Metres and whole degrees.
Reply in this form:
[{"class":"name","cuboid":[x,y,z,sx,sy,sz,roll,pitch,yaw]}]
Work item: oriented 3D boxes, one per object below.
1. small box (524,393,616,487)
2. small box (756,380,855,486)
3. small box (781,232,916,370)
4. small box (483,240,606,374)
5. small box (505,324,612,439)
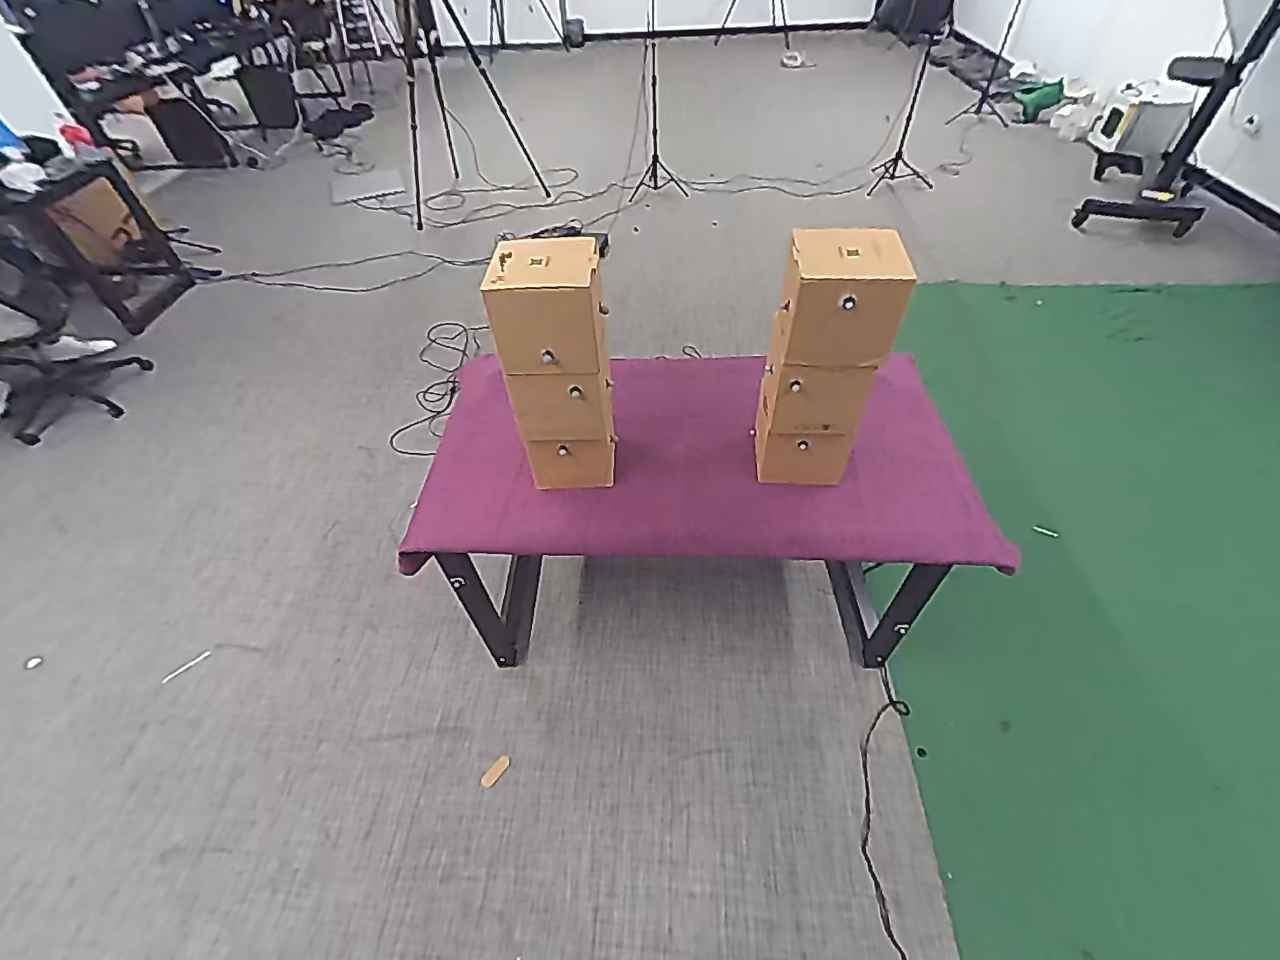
[{"class":"small box","cuboid":[-0.147,-0.097,1.206,0.179,0.176,0.168,-1,49,2]},{"class":"small box","cuboid":[0.351,-0.102,1.186,0.179,0.176,0.168,2,49,4]},{"class":"small box","cuboid":[0.341,-0.305,0.929,0.179,0.176,0.168,4,49,6]},{"class":"small box","cuboid":[-0.154,-0.300,0.947,0.179,0.176,0.168,0,48,2]},{"class":"small box","cuboid":[-0.150,-0.195,1.072,0.179,0.176,0.168,0,48,3]}]
